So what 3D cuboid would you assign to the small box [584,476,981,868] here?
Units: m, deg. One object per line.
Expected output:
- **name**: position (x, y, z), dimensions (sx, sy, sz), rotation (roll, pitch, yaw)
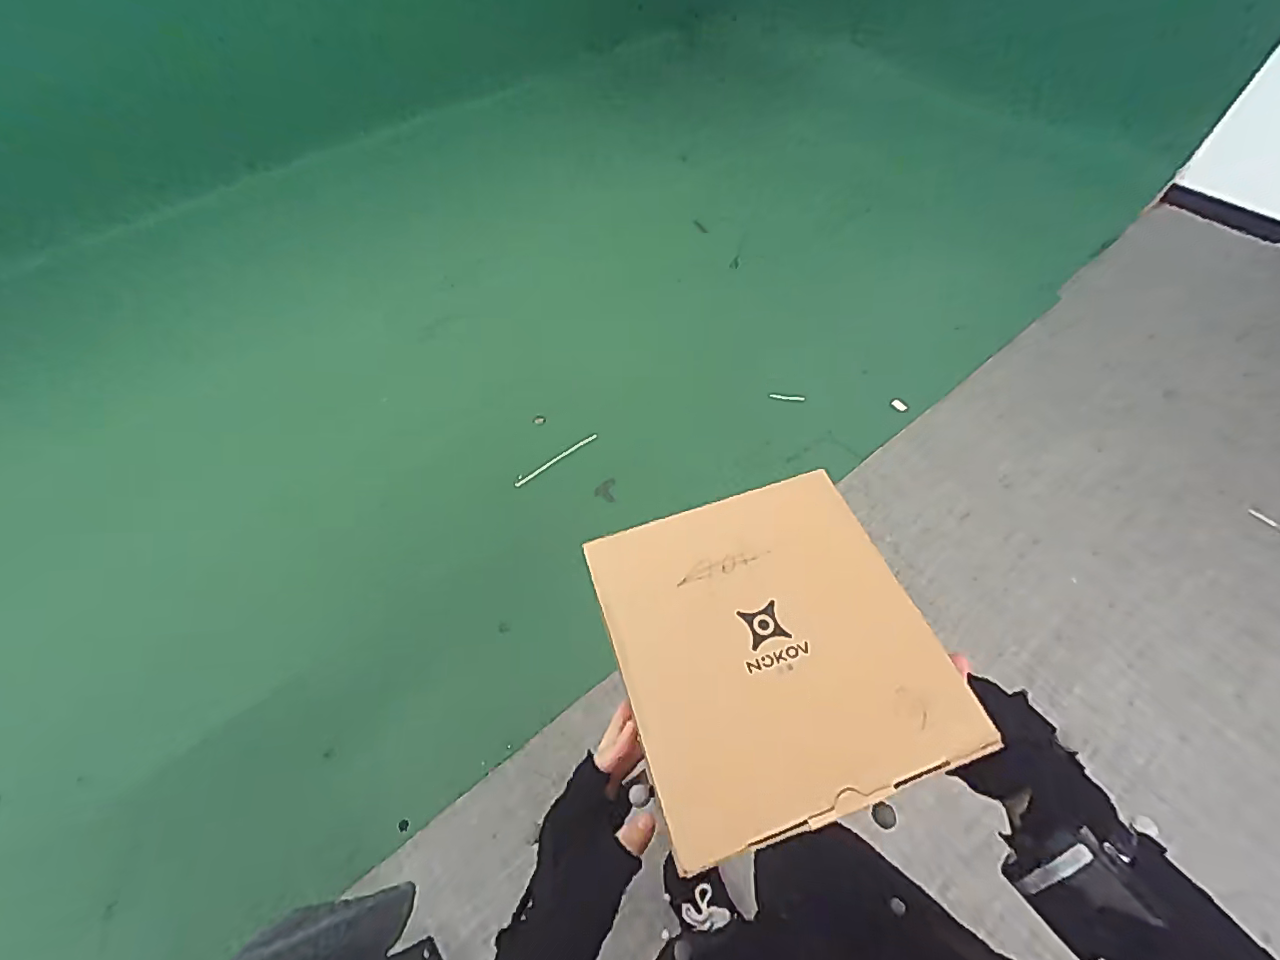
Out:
- **small box**: position (0.073, 0.131, 0.367), dimensions (0.168, 0.176, 0.179), rotation (-17, 55, -8)
